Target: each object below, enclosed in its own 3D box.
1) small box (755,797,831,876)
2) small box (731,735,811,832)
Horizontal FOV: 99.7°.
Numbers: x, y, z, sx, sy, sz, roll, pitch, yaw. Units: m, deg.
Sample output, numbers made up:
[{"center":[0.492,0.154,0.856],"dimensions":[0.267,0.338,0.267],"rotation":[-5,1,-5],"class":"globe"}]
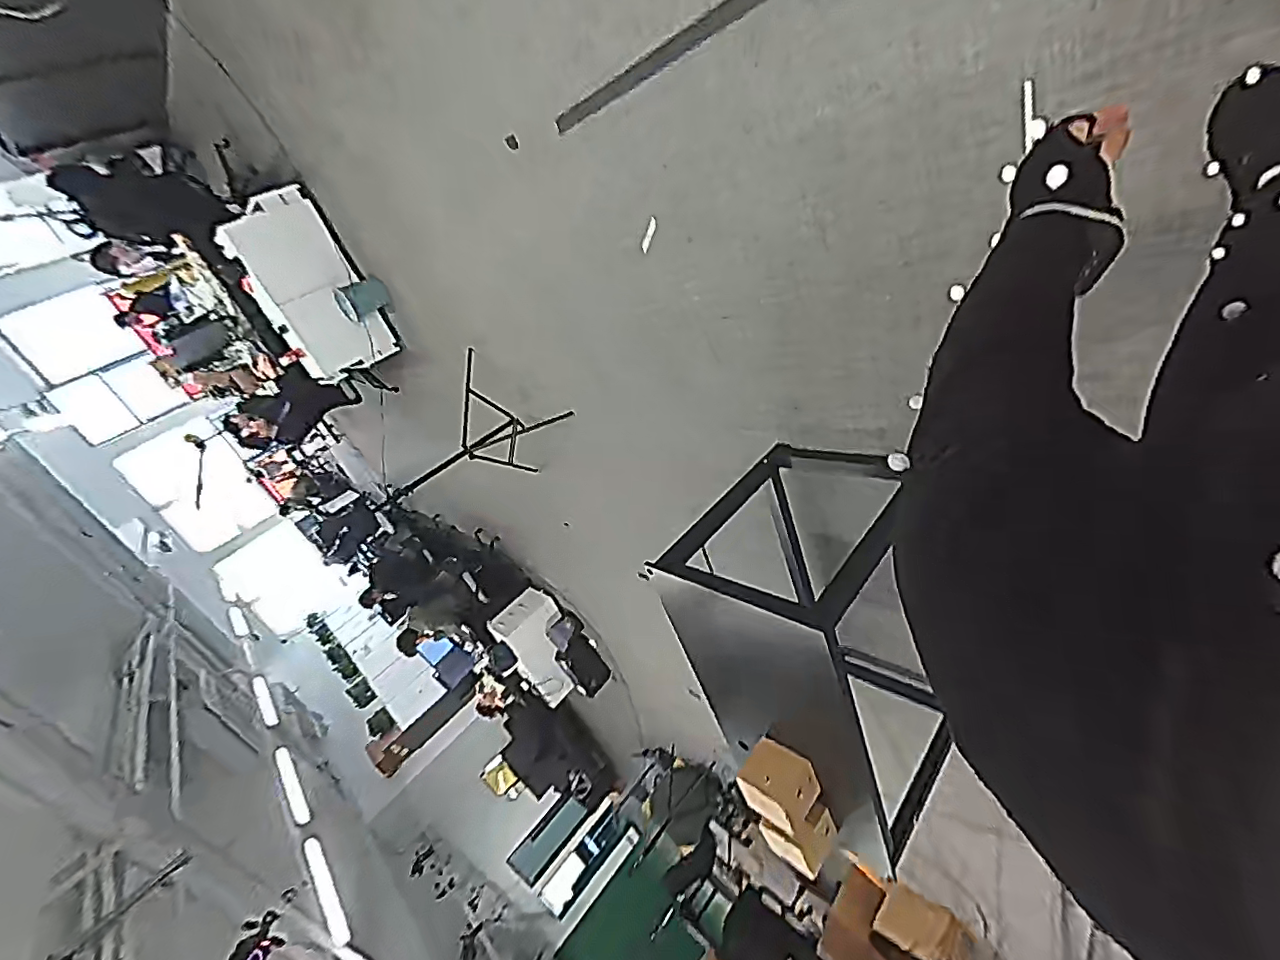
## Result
[{"center":[0.519,1.168,1.824],"dimensions":[0.168,0.176,0.179],"rotation":[9,131,49],"class":"small box"},{"center":[0.423,0.951,1.711],"dimensions":[0.179,0.176,0.168],"rotation":[11,132,48],"class":"small box"}]
